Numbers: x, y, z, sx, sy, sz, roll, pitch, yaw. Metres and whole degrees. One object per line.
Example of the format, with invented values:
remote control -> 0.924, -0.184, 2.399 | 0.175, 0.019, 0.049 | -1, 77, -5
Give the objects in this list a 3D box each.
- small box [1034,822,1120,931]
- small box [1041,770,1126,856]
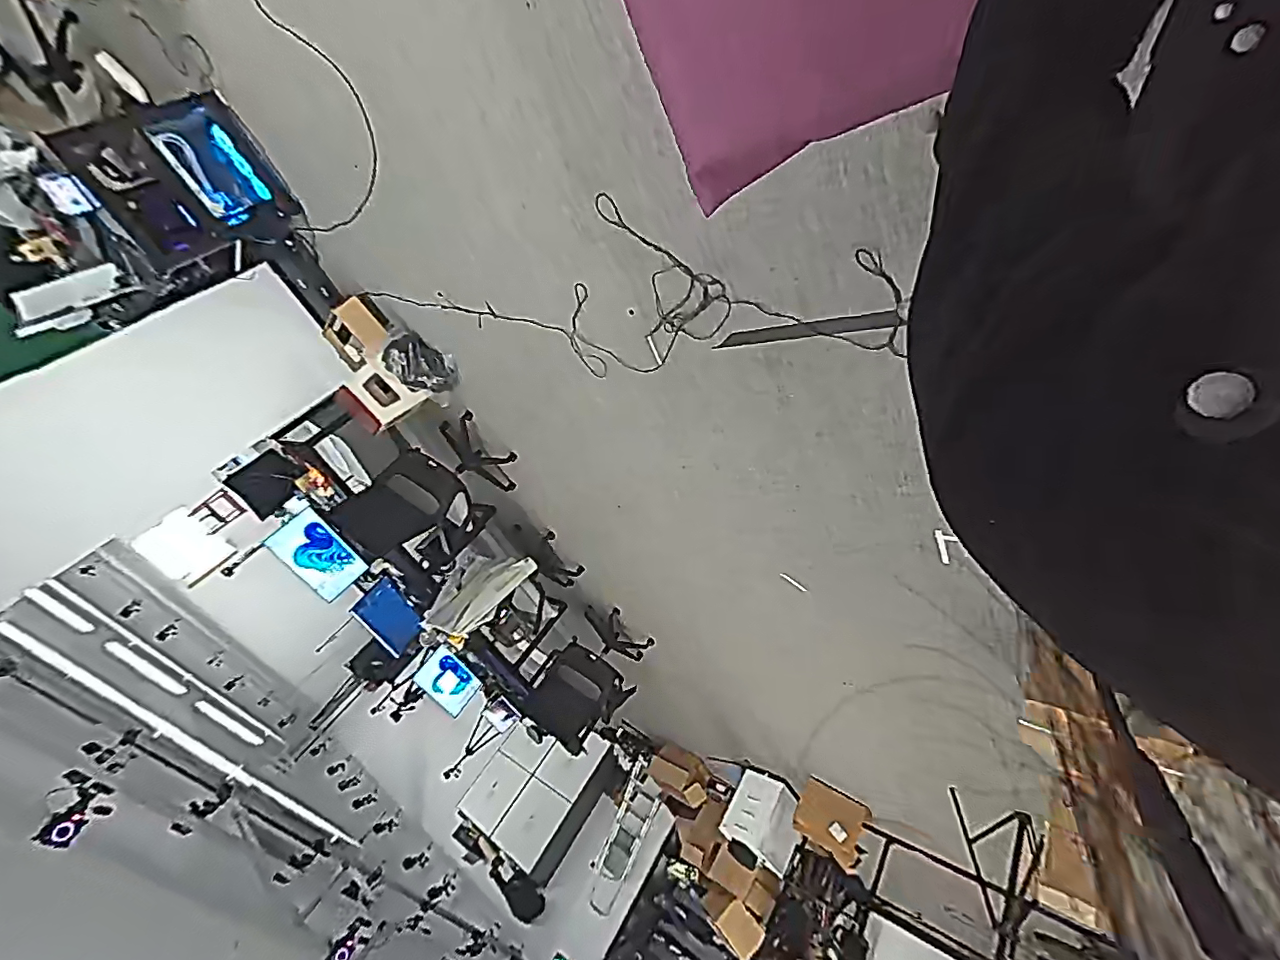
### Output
small box -> 1.235, 1.117, 1.529 | 0.168, 0.176, 0.179 | 9, 138, 39
small box -> 1.317, 0.997, 1.609 | 0.179, 0.176, 0.168 | 7, 137, 40
